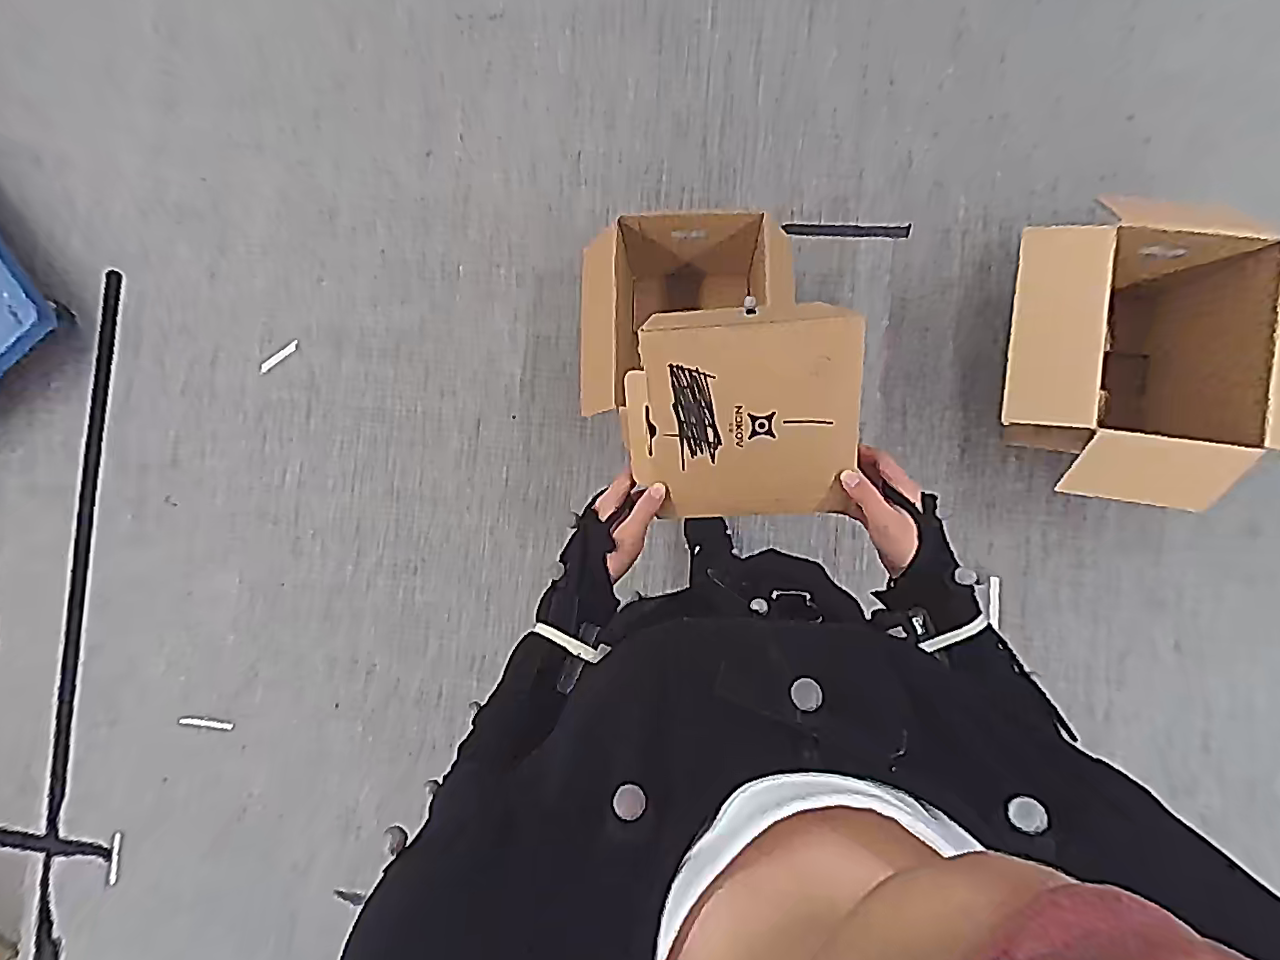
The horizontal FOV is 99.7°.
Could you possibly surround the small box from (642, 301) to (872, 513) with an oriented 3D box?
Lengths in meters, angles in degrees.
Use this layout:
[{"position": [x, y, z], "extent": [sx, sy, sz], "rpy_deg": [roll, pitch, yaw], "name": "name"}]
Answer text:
[{"position": [0.101, -0.077, 0.515], "extent": [0.179, 0.176, 0.168], "rpy_deg": [-3, 111, 6], "name": "small box"}]
